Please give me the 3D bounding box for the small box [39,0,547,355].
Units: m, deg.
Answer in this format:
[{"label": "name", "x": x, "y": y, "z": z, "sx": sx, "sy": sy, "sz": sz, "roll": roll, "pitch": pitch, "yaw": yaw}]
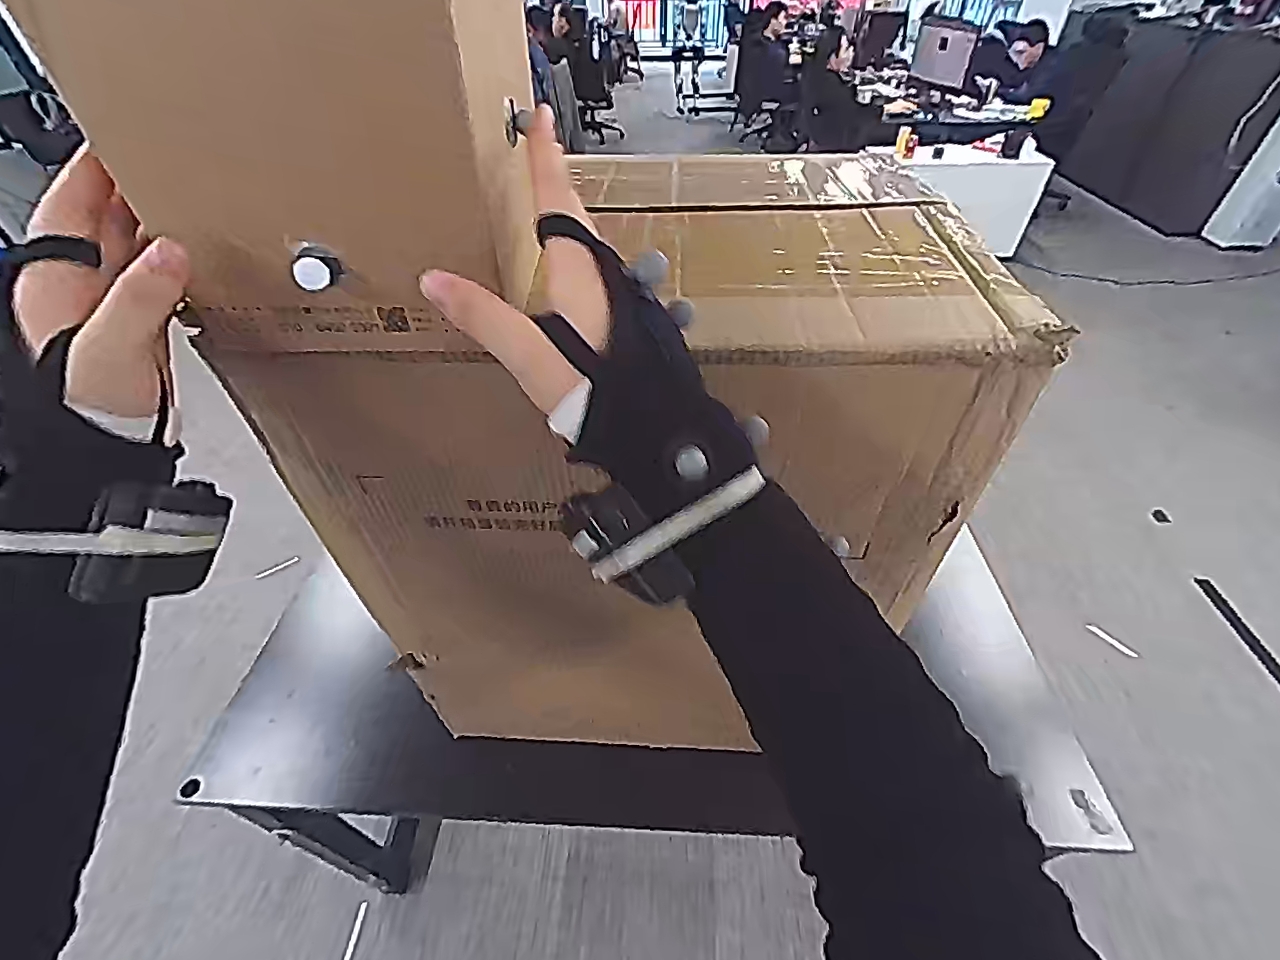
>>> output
[{"label": "small box", "x": -0.150, "y": -0.191, "z": 0.308, "sx": 0.168, "sy": 0.176, "sz": 0.179, "roll": 0, "pitch": 47, "yaw": 0}]
